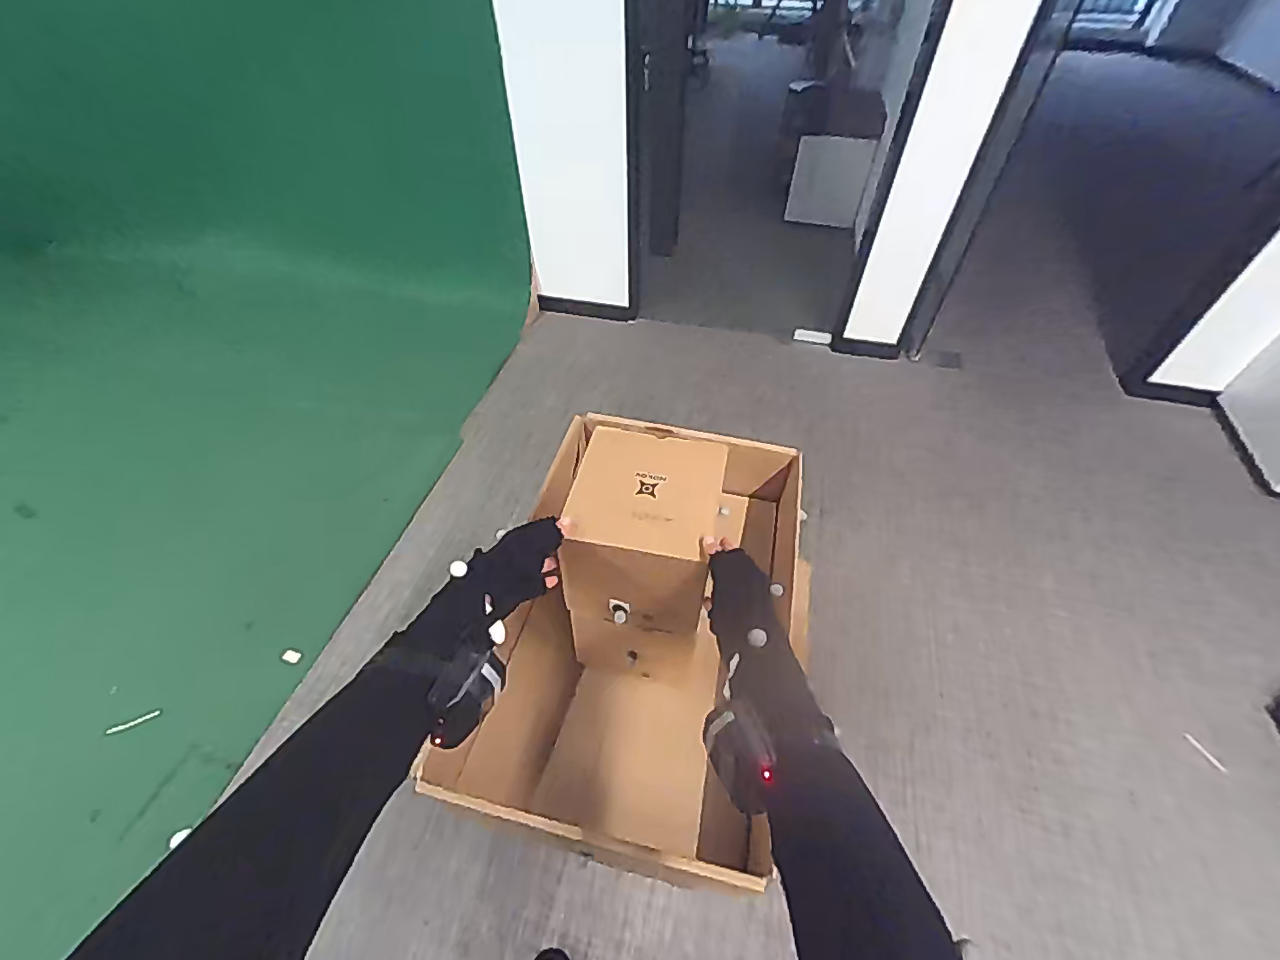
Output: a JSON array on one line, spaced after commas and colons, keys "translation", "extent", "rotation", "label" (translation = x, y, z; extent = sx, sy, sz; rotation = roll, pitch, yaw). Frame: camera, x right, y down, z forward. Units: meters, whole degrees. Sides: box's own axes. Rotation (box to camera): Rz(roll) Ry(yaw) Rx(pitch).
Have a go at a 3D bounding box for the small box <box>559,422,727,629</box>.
[{"translation": [0.008, 0.057, 0.668], "extent": [0.168, 0.176, 0.179], "rotation": [9, 50, 7], "label": "small box"}]
